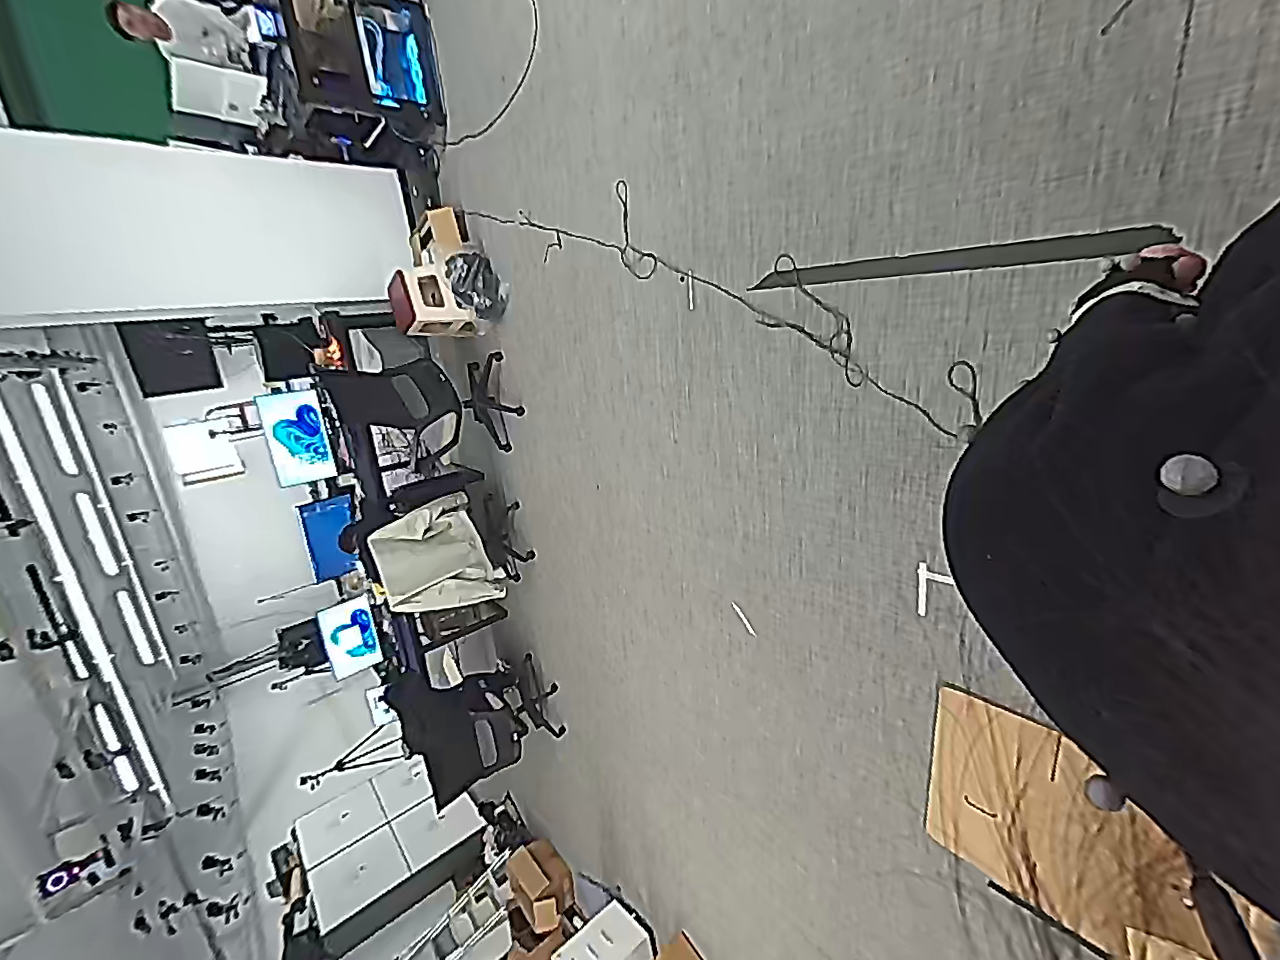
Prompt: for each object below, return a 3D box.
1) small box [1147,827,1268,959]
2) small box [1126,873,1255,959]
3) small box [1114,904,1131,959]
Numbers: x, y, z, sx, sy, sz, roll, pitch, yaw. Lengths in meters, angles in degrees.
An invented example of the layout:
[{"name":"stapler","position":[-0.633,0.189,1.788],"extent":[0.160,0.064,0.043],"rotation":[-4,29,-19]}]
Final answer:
[{"name":"small box","position":[1.235,0.909,1.177],"extent":[0.168,0.176,0.179],"rotation":[-6,99,52]},{"name":"small box","position":[1.107,0.956,1.084],"extent":[0.168,0.176,0.179],"rotation":[-5,100,51]},{"name":"small box","position":[1.247,1.172,1.276],"extent":[0.168,0.176,0.179],"rotation":[1,106,51]}]
